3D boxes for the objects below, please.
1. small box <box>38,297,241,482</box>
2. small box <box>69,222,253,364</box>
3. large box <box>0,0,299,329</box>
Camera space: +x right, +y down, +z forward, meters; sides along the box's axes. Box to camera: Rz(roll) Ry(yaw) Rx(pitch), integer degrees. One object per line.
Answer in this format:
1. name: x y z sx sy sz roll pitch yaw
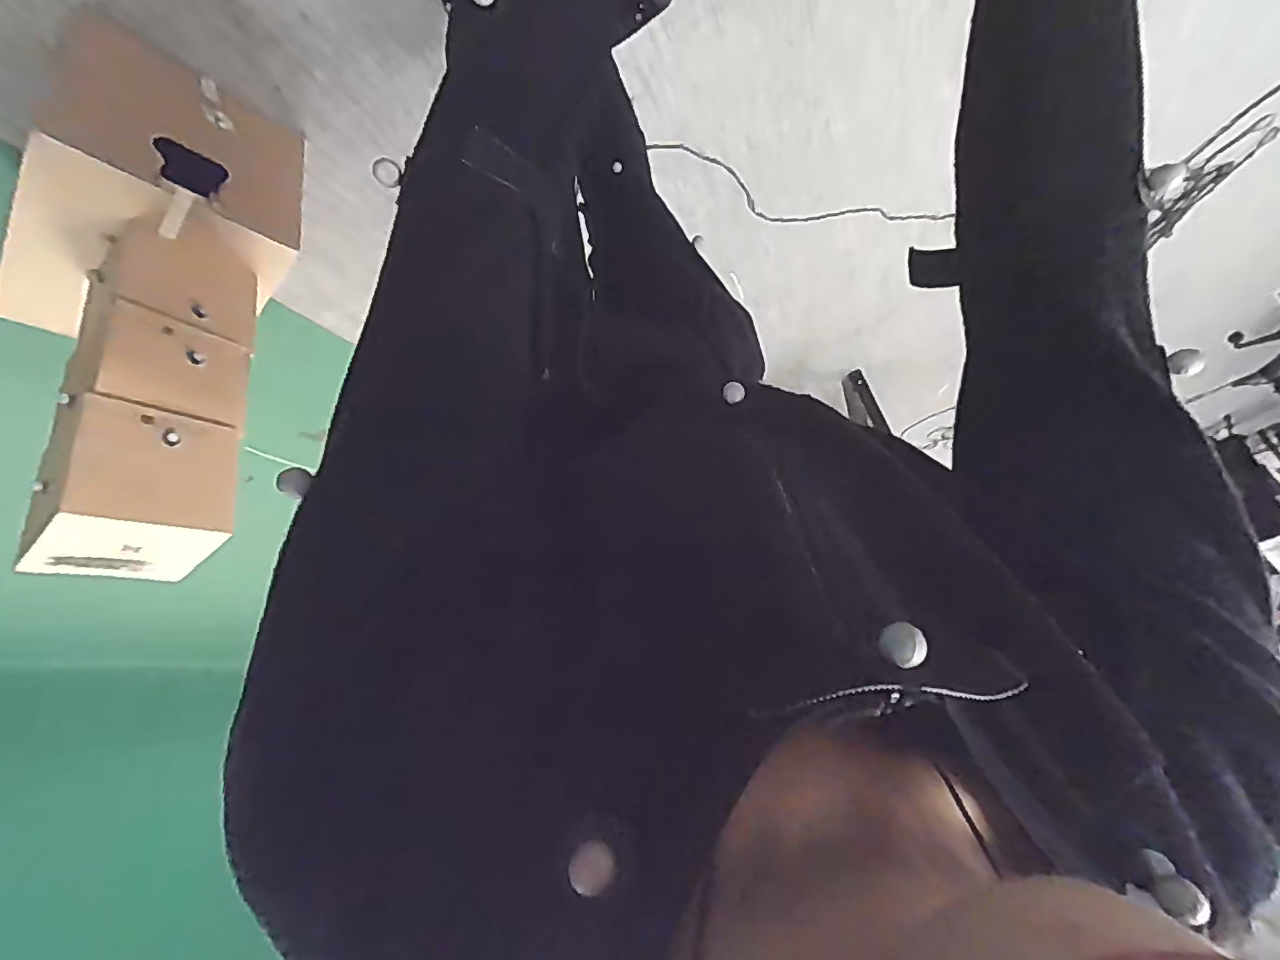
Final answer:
1. small box: -0.708 -0.123 0.782 0.179 0.176 0.168 -28 153 24
2. small box: -0.746 -0.263 0.857 0.168 0.176 0.179 -28 153 25
3. large box: -0.843 -0.473 0.947 0.408 0.320 0.320 -29 151 31
